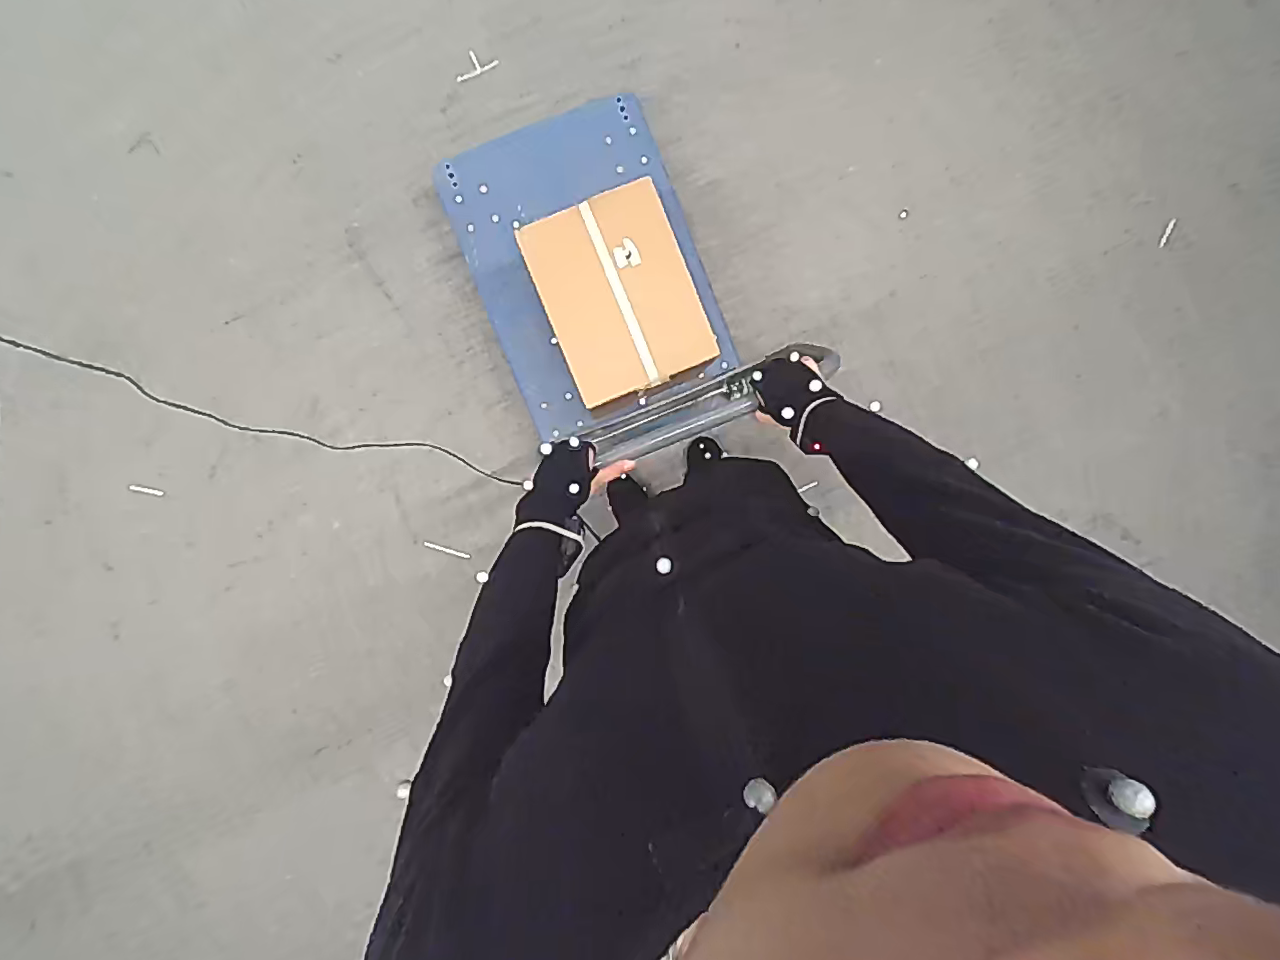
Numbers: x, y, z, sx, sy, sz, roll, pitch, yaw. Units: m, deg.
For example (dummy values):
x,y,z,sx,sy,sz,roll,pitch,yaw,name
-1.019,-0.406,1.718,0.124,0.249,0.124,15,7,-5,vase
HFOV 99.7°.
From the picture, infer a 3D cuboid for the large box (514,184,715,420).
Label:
x,y,z,sx,sy,sz,roll,pitch,yaw,name
-0.055,-0.395,1.302,0.320,0.320,0.408,-23,92,-2,large box
